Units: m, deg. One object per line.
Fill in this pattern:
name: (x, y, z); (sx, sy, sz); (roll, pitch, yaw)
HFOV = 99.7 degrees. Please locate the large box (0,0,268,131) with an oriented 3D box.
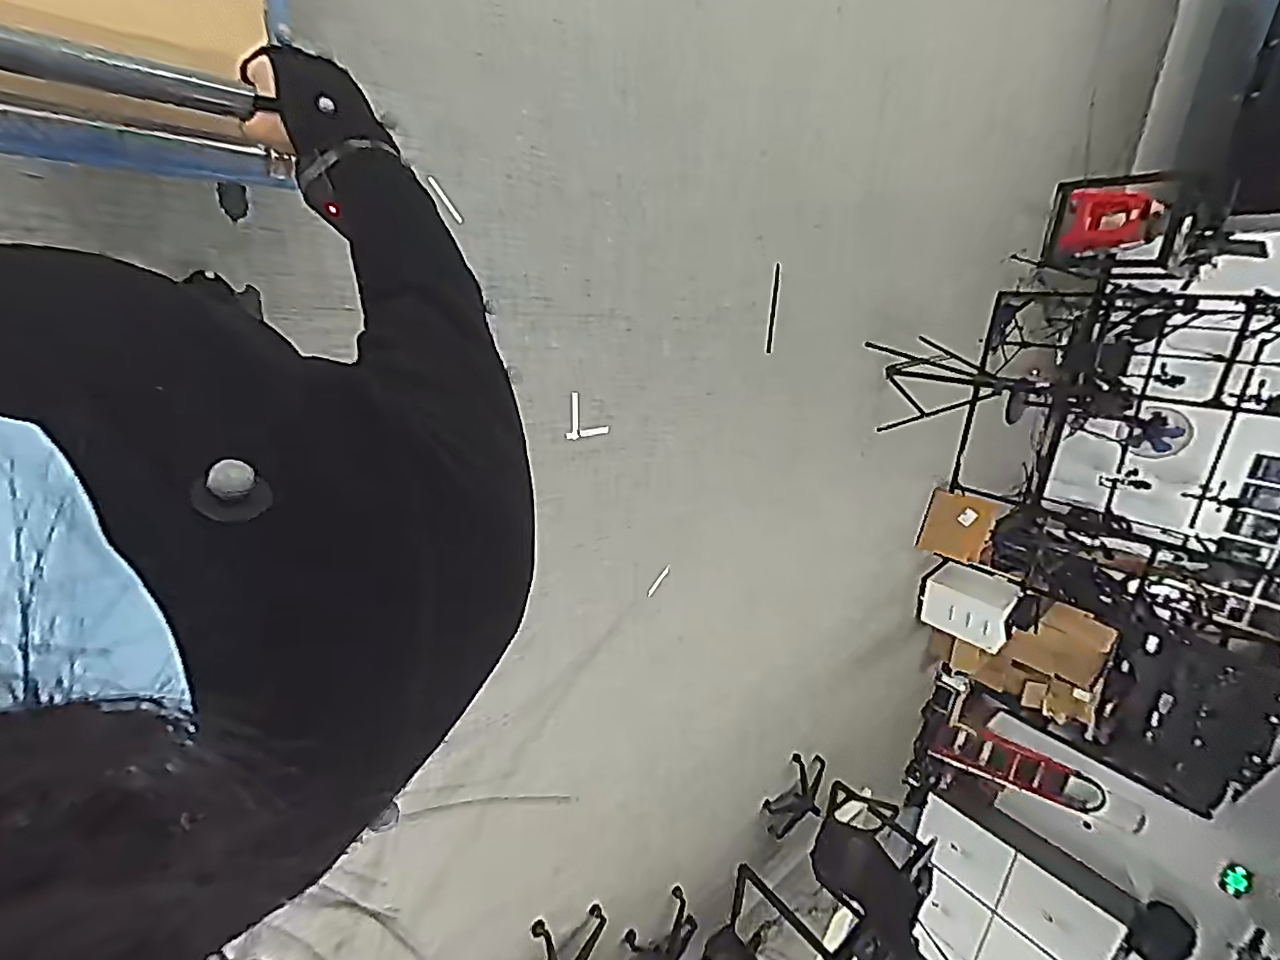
large box: (-0.776, -0.701, 0.709); (0.408, 0.320, 0.320); (-13, 115, -40)
